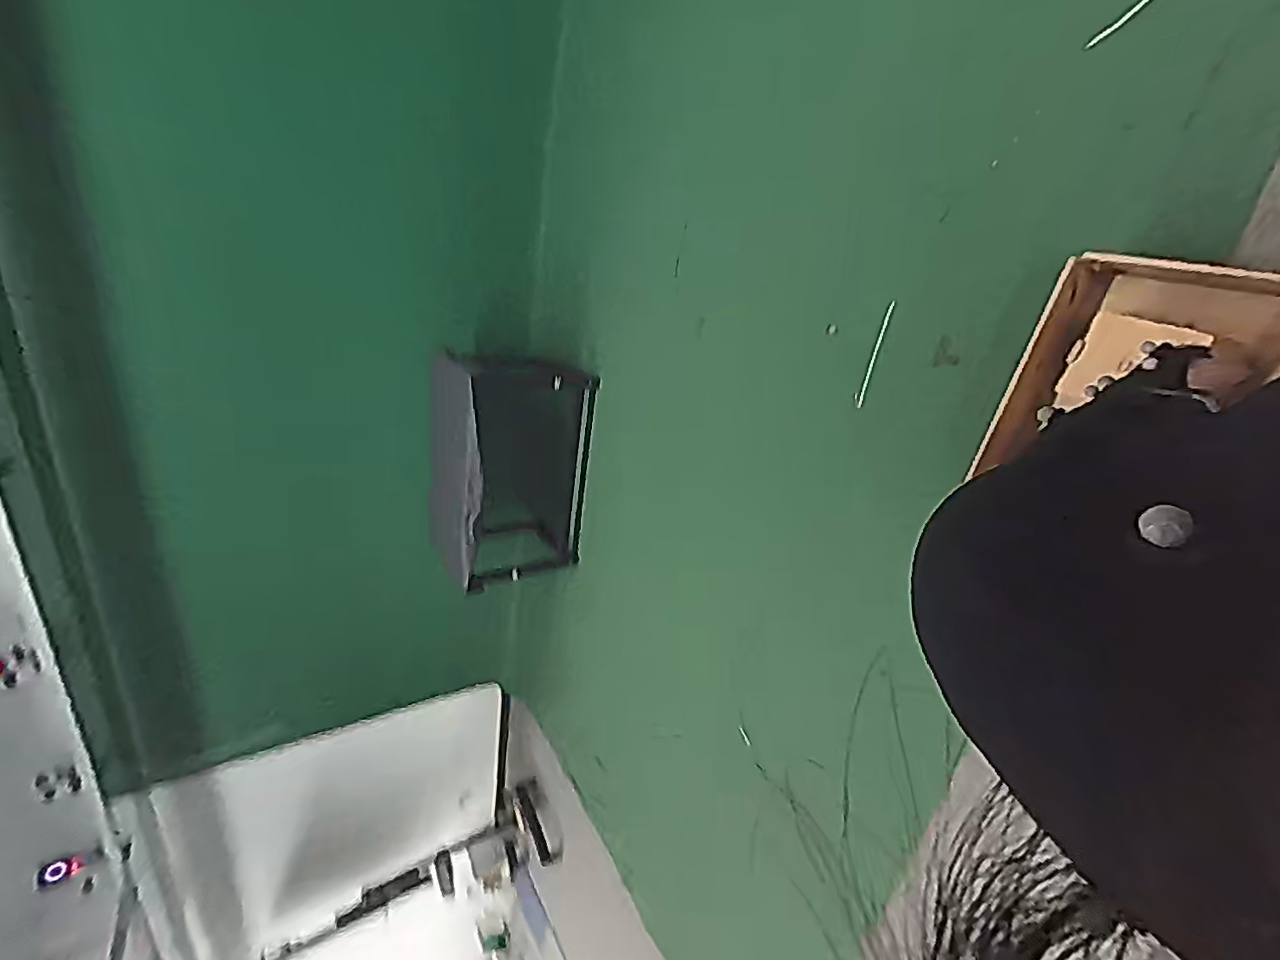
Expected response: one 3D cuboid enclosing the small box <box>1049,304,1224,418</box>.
[{"bbox_3d":[0.952,-0.229,1.042,0.179,0.176,0.168,41,128,43],"label":"small box"}]
